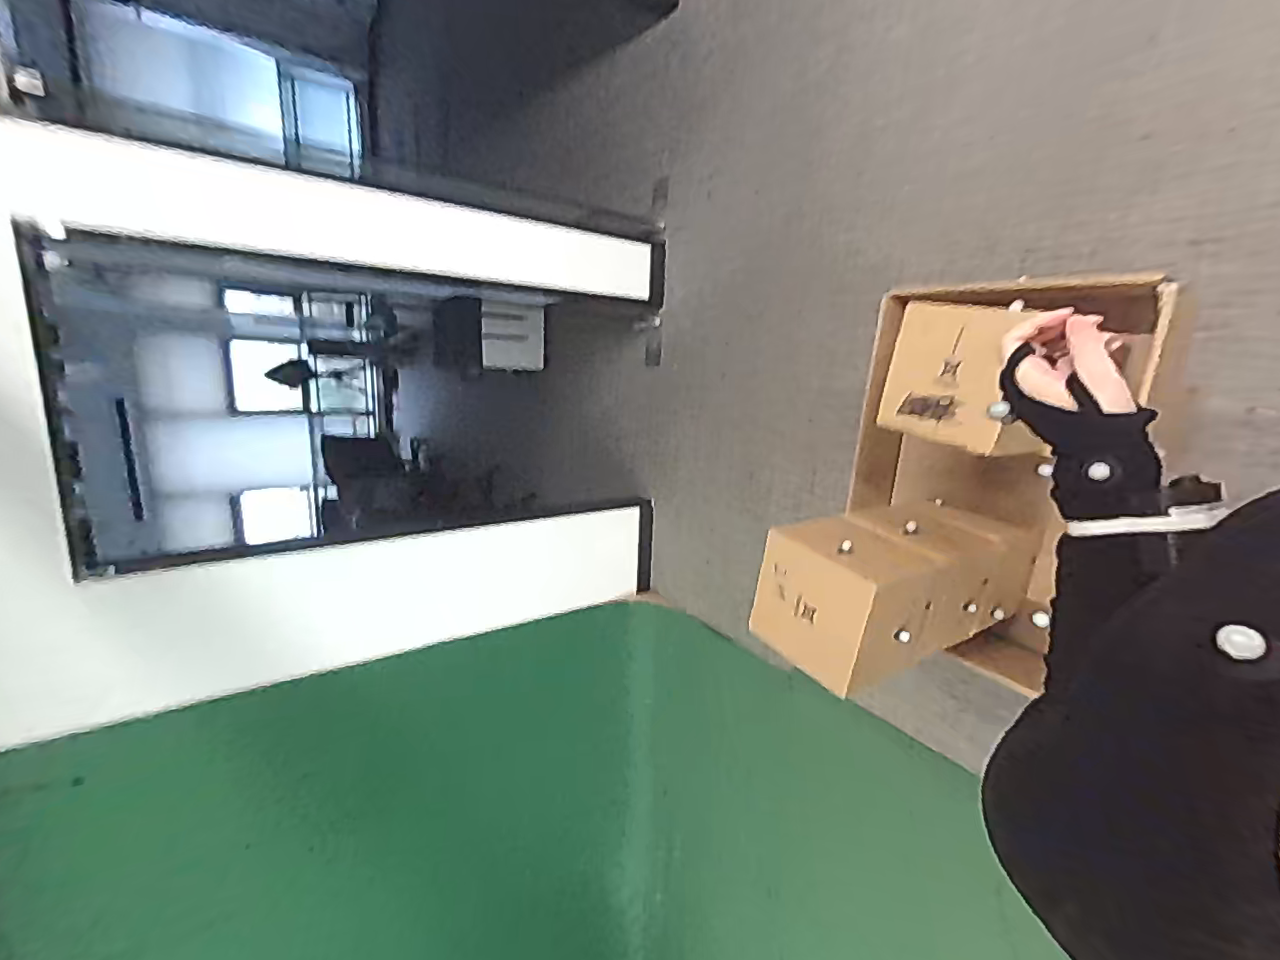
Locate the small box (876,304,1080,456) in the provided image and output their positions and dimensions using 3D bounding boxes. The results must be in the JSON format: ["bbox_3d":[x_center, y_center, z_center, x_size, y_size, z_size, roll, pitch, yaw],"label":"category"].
[{"bbox_3d":[0.470,-0.142,0.758,0.168,0.176,0.179,31,119,50],"label":"small box"}]

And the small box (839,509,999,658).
[{"bbox_3d":[0.424,0.151,0.864,0.179,0.176,0.168,30,118,51],"label":"small box"}]

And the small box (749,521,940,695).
[{"bbox_3d":[0.288,0.166,0.772,0.179,0.176,0.168,31,118,51],"label":"small box"}]
